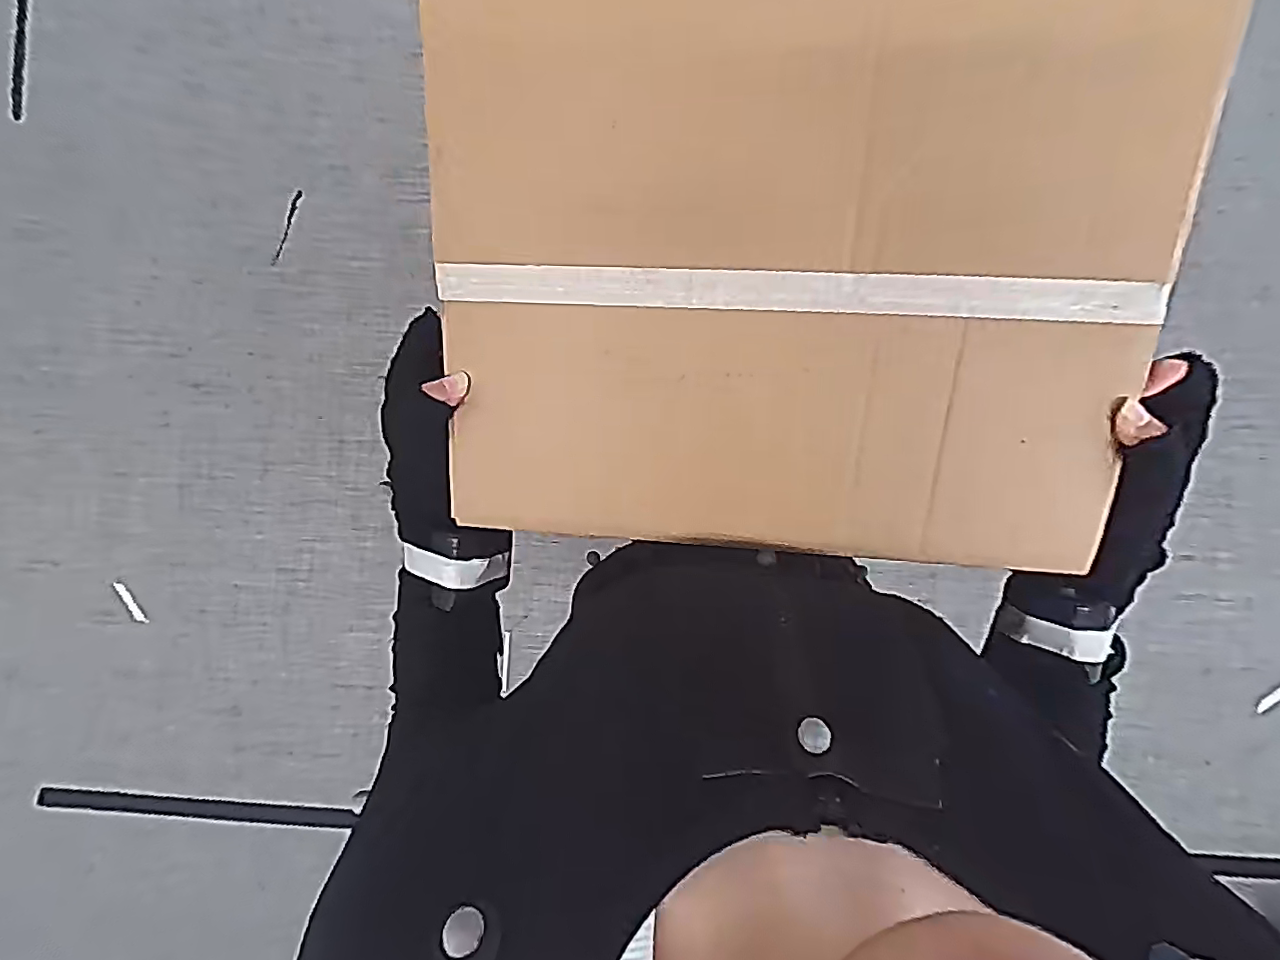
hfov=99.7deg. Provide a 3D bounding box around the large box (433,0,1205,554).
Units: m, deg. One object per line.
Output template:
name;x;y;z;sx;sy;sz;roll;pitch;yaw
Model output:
large box;0.090;-0.147;0.462;0.408;0.320;0.320;4;106;5
